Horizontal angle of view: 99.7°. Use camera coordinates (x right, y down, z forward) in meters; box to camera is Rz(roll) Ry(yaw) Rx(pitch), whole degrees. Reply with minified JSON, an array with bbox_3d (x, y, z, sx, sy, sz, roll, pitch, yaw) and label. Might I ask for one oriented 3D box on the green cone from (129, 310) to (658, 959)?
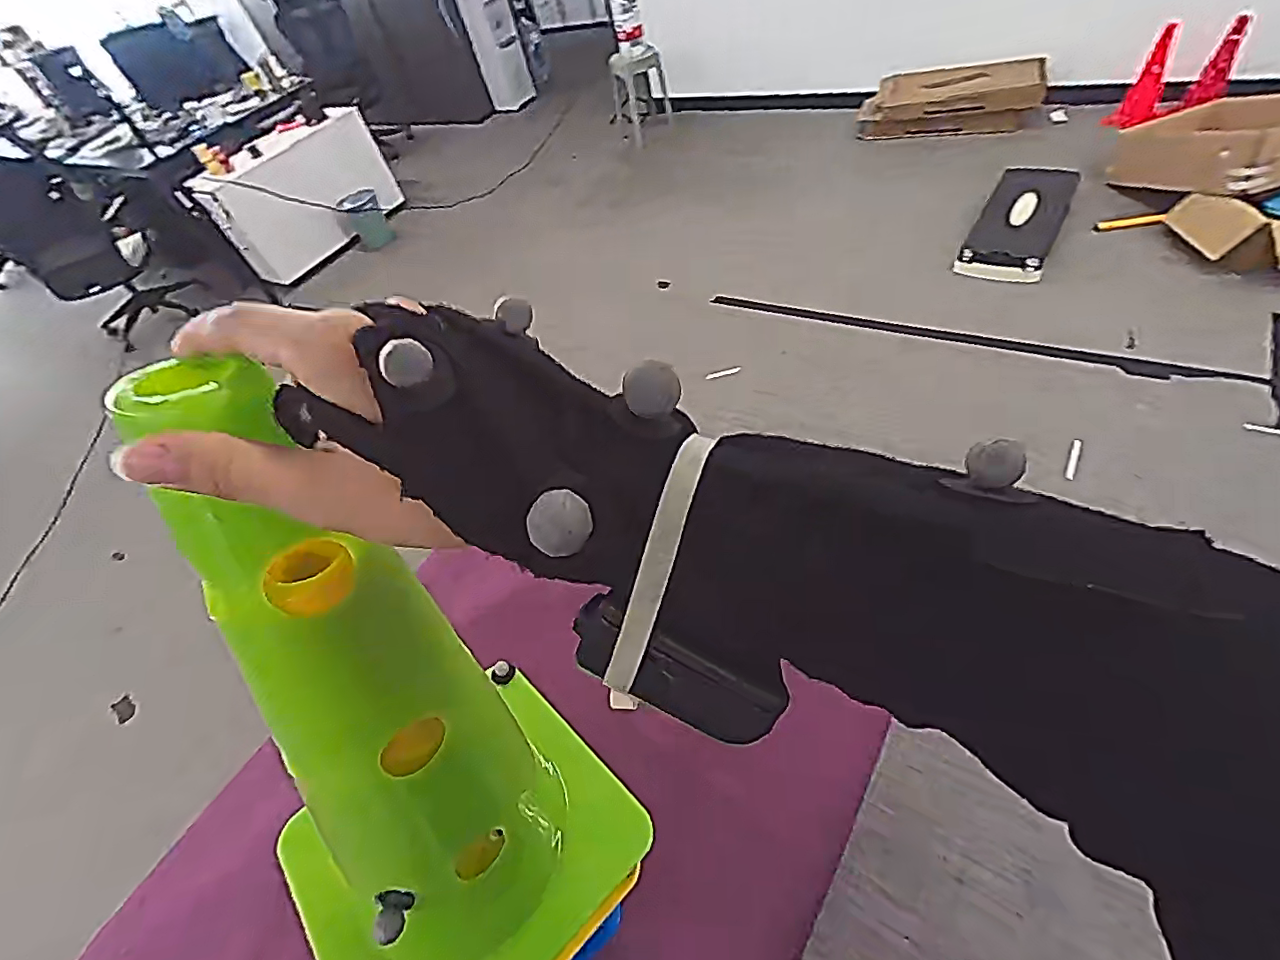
[{"bbox_3d":[-0.123,0.099,0.265,0.202,0.368,0.200,31,49,35],"label":"green cone"}]
